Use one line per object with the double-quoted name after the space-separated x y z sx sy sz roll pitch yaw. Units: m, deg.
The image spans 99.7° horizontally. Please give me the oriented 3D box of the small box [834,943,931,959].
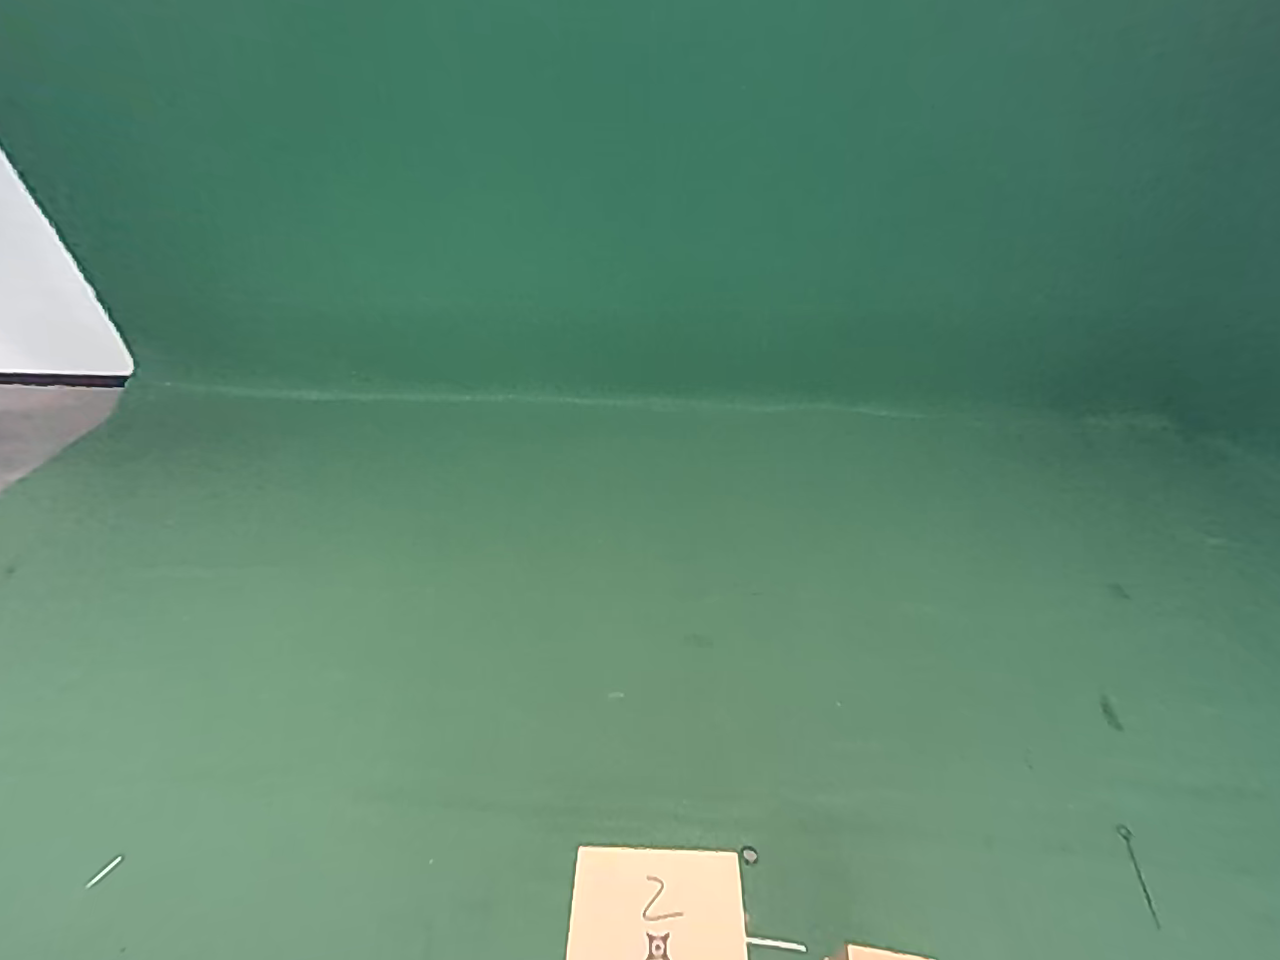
0.457 1.000 0.999 0.168 0.176 0.179 6 41 6 "small box"
